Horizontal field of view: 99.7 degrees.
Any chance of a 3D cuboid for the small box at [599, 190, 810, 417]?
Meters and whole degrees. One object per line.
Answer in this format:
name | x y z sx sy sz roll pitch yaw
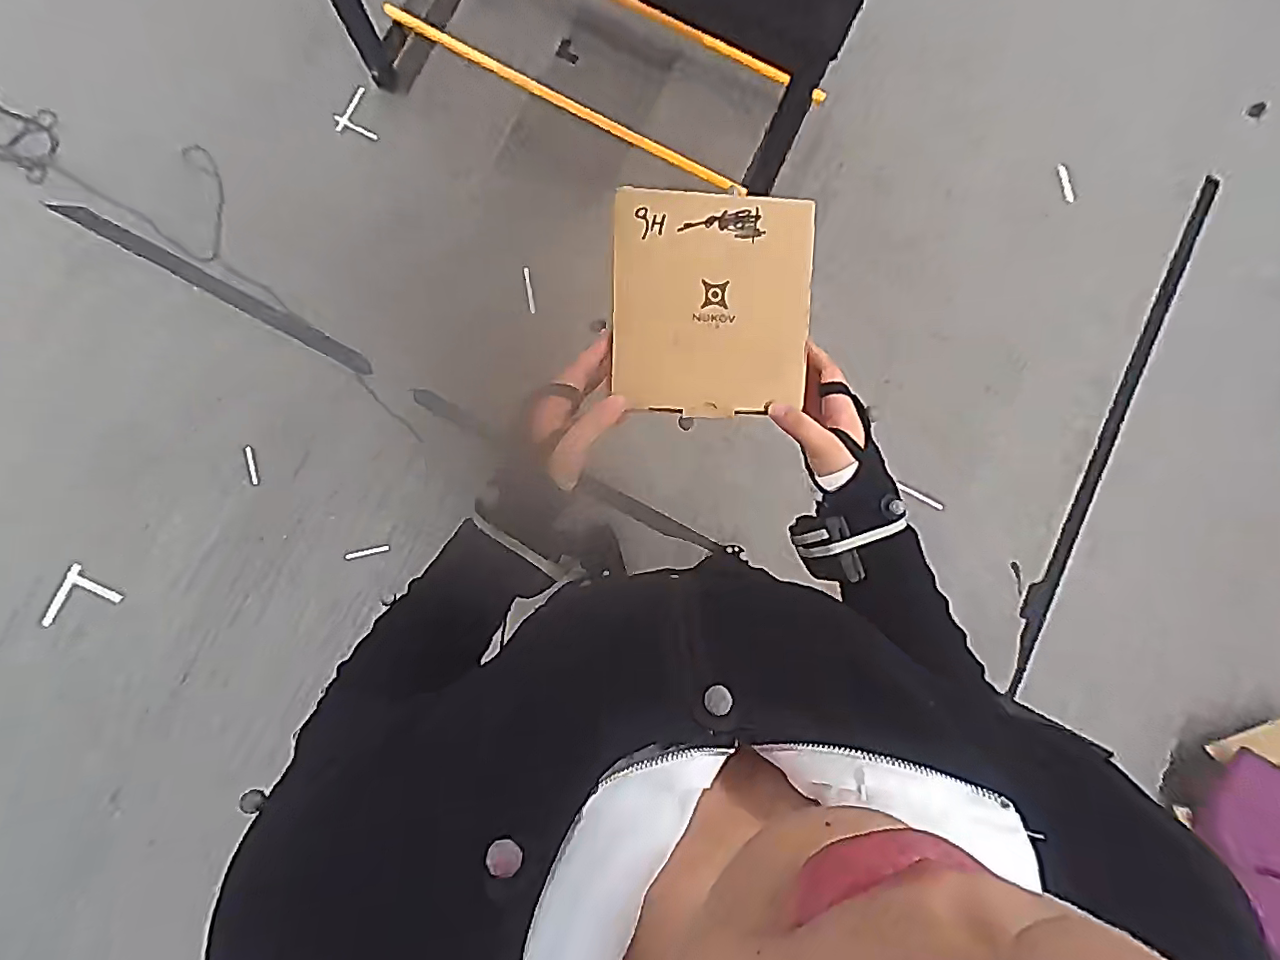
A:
small box | 0.047 -0.154 0.522 0.168 0.176 0.179 0 99 -6
